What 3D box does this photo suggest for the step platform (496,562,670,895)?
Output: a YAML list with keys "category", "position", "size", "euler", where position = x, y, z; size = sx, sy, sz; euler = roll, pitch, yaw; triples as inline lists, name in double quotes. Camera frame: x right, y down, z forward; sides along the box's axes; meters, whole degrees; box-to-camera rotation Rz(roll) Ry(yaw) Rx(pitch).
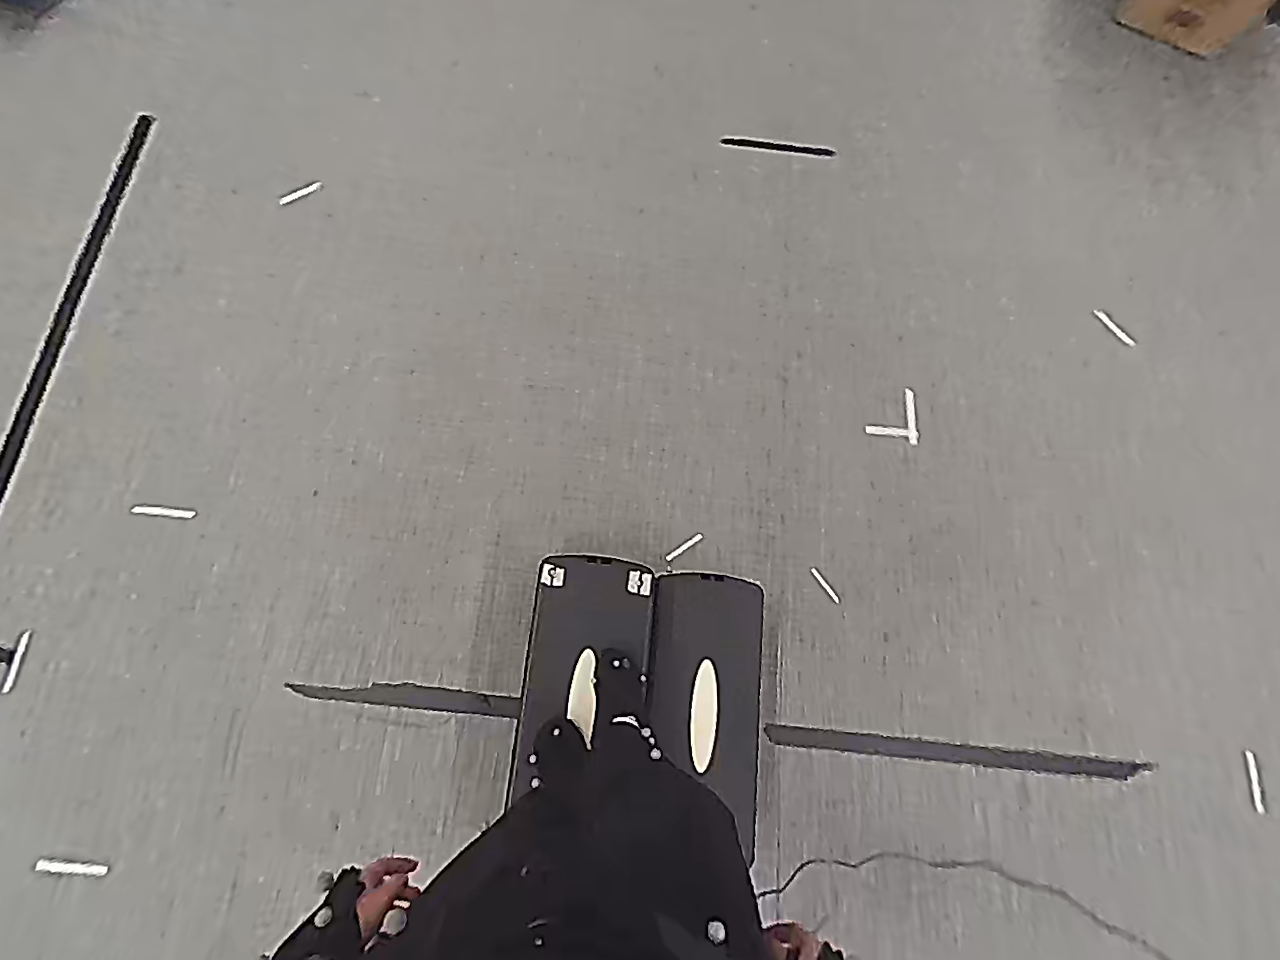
- category: "step platform"
  position: [-0.118, 0.538, 1.258]
  size: [0.286, 0.204, 0.684]
  euler: [10, 72, -1]
